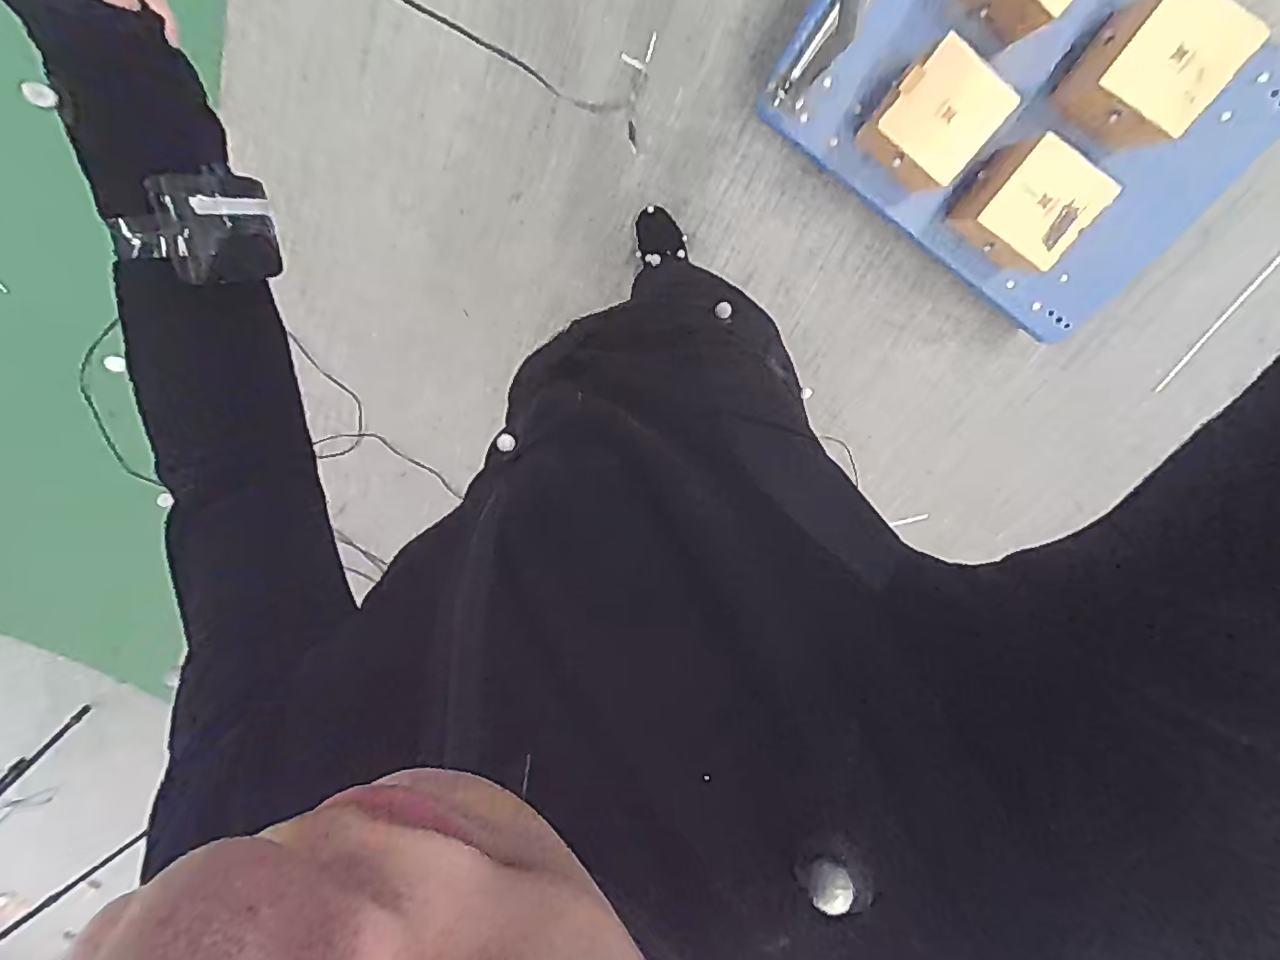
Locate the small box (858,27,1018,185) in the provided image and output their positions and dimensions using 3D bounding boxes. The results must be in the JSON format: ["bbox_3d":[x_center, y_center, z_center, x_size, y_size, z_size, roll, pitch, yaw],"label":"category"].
[{"bbox_3d":[0.543,-0.681,1.011,0.179,0.176,0.168,36,115,-8],"label":"small box"}]

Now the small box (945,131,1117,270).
[{"bbox_3d":[0.743,-0.536,1.049,0.179,0.176,0.168,33,115,-7],"label":"small box"}]

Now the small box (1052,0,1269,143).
[{"bbox_3d":[0.884,-0.719,0.943,0.179,0.176,0.168,31,116,-7],"label":"small box"}]
